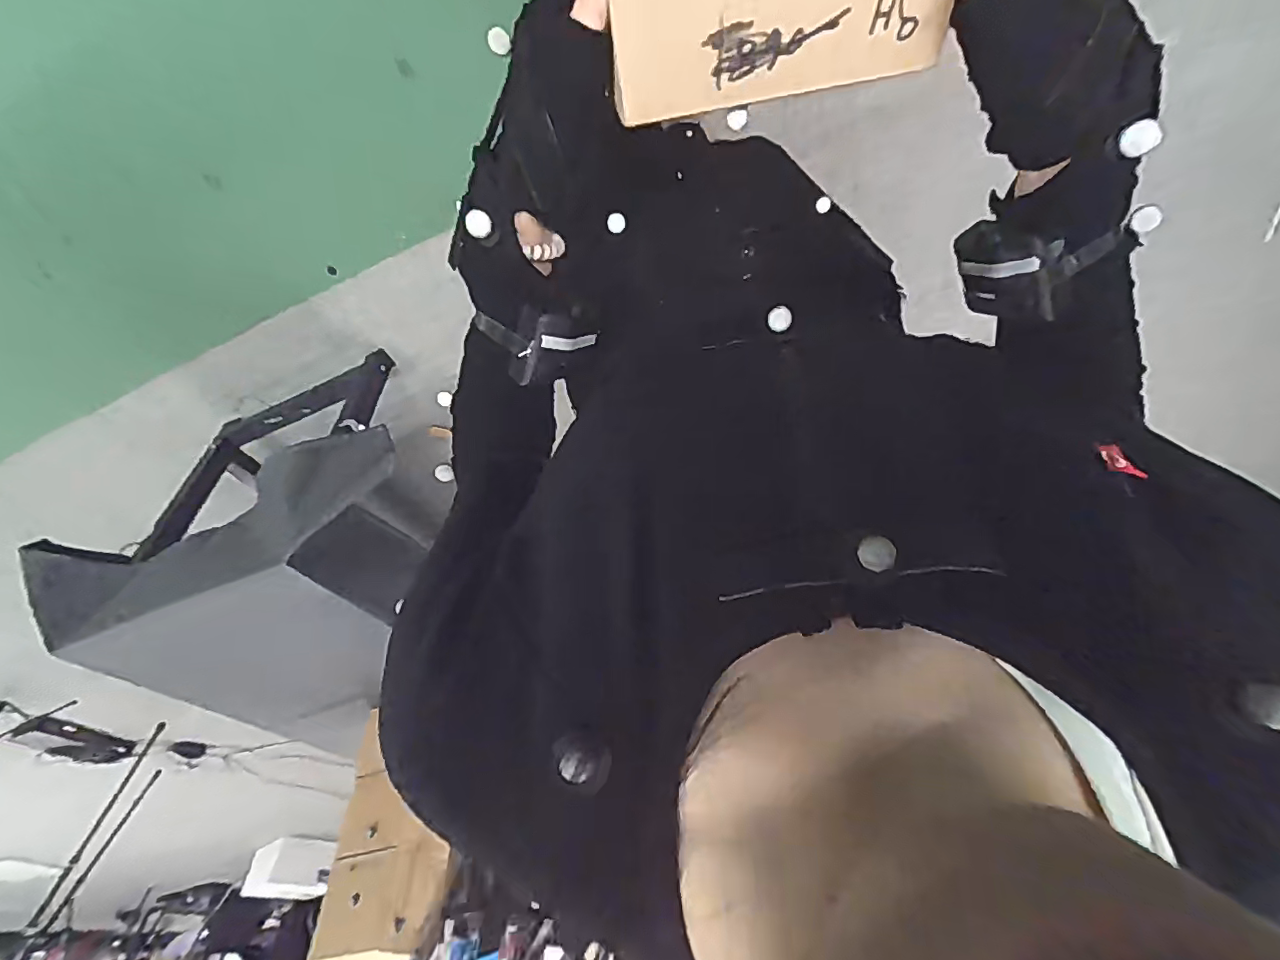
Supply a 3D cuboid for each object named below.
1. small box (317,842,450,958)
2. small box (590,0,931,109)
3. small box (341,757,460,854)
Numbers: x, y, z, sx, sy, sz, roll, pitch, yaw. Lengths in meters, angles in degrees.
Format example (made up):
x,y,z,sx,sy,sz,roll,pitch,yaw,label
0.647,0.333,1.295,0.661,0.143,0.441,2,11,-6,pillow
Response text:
x,y,z,sx,sy,sz,roll,pitch,yaw,label
-0.531,0.886,1.146,0.168,0.176,0.179,-19,134,12,small box
0.048,-0.323,0.285,0.168,0.176,0.179,-8,133,3,small box
-0.548,0.772,1.263,0.179,0.176,0.168,-20,134,13,small box
